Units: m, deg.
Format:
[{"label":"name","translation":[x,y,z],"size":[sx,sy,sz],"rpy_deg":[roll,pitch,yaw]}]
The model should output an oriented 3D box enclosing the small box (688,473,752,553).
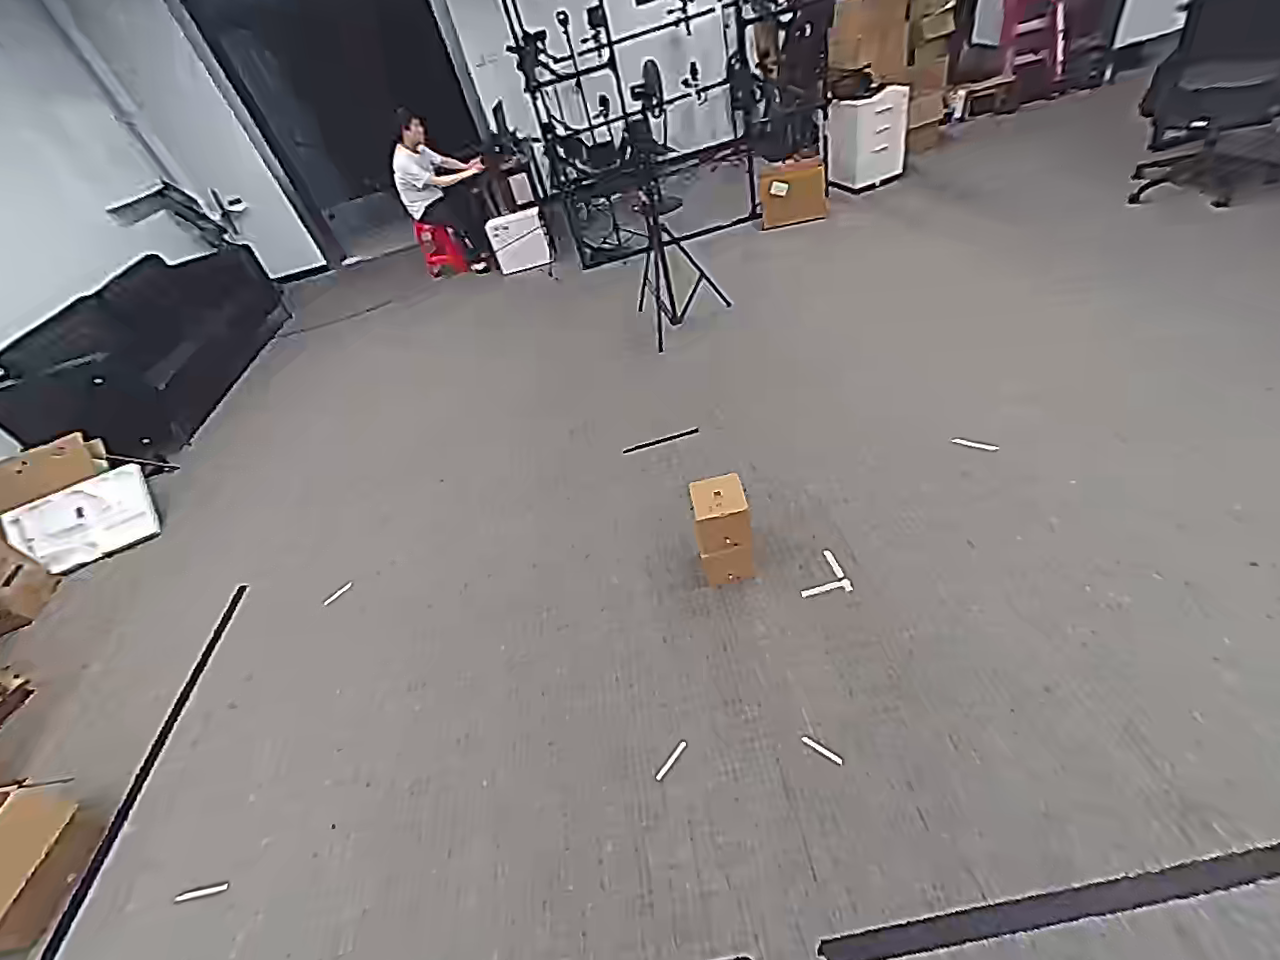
[{"label":"small box","translation":[0.258,0.109,1.754],"size":[0.168,0.176,0.179],"rpy_deg":[-14,41,6]}]
